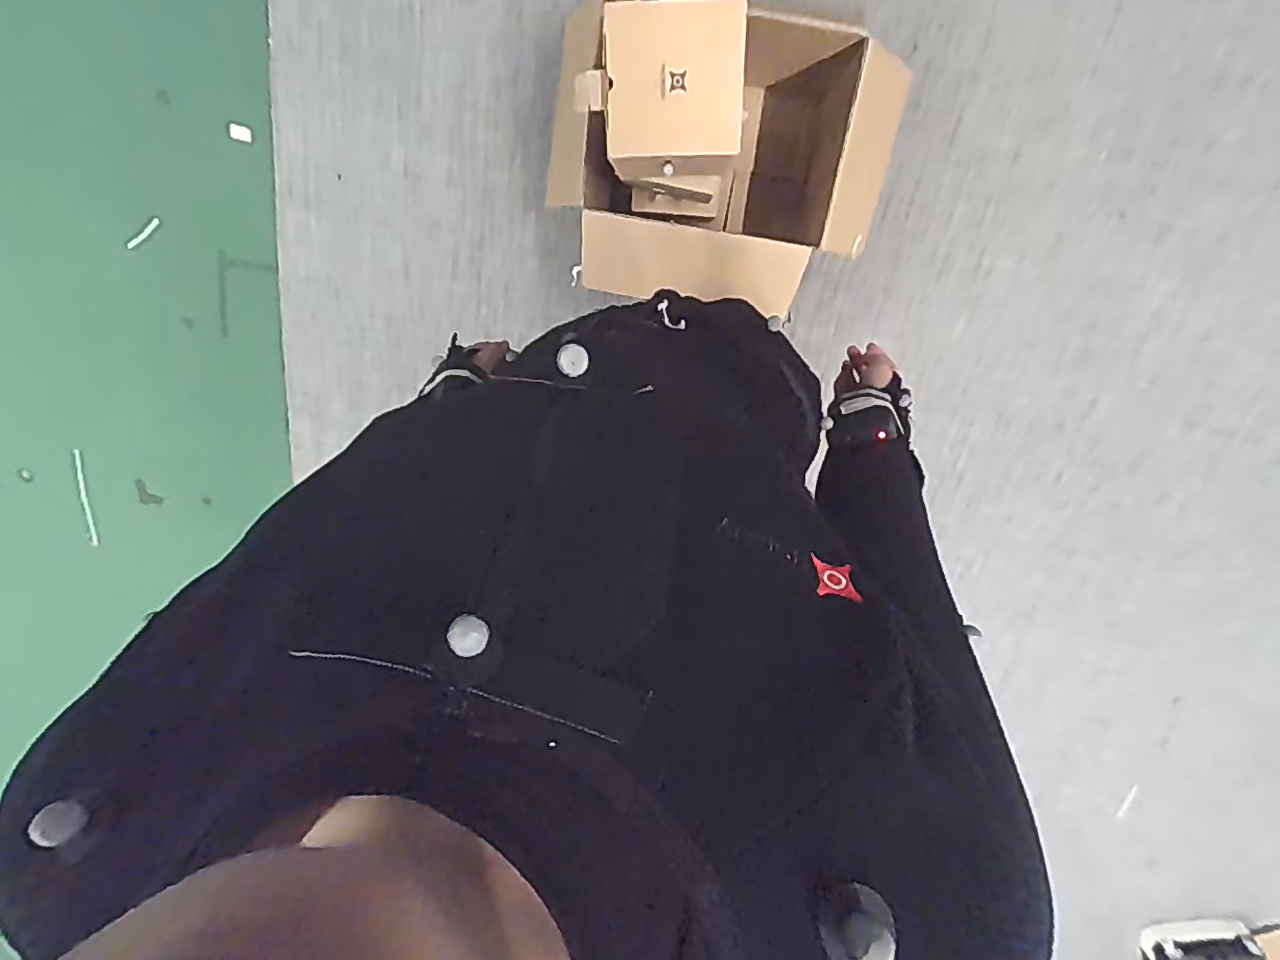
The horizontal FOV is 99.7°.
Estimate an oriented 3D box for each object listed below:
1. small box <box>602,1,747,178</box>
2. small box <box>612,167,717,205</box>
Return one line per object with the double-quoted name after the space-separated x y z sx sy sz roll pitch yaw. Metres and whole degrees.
0.045 -0.525 0.748 0.179 0.176 0.168 1 112 4 "small box"
0.055 -0.576 0.902 0.168 0.176 0.179 12 113 -2 "small box"
